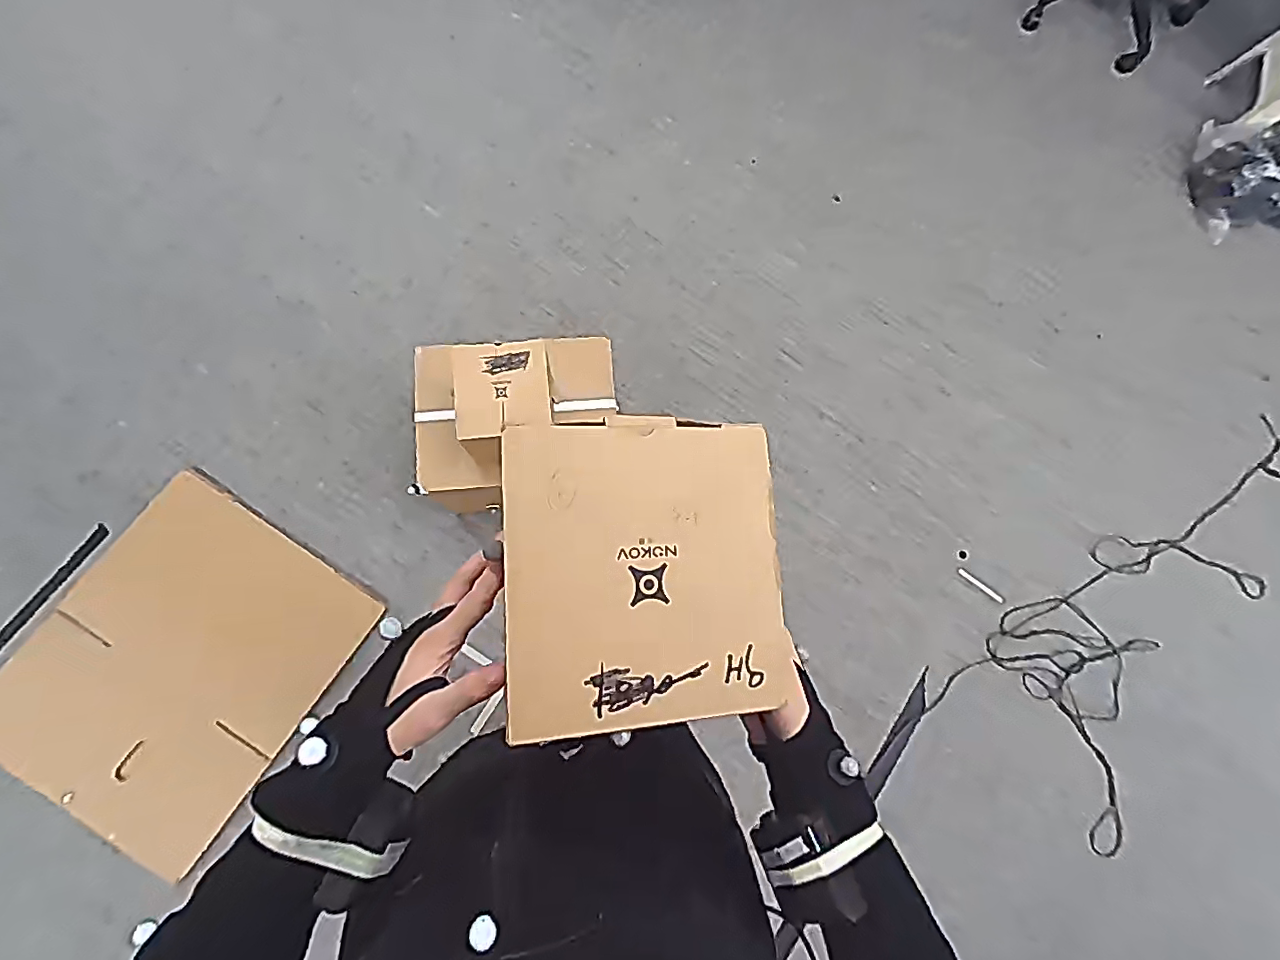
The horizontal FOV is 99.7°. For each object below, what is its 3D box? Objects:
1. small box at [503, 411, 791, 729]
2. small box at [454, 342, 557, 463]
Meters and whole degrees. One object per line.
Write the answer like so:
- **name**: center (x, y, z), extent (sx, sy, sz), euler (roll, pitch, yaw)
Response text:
- **small box**: center (-0.013, 0.058, 0.392), extent (0.168, 0.176, 0.179), euler (-2, 82, -14)
- **small box**: center (-0.246, -0.140, 1.023), extent (0.168, 0.176, 0.179), euler (-6, 80, -6)
